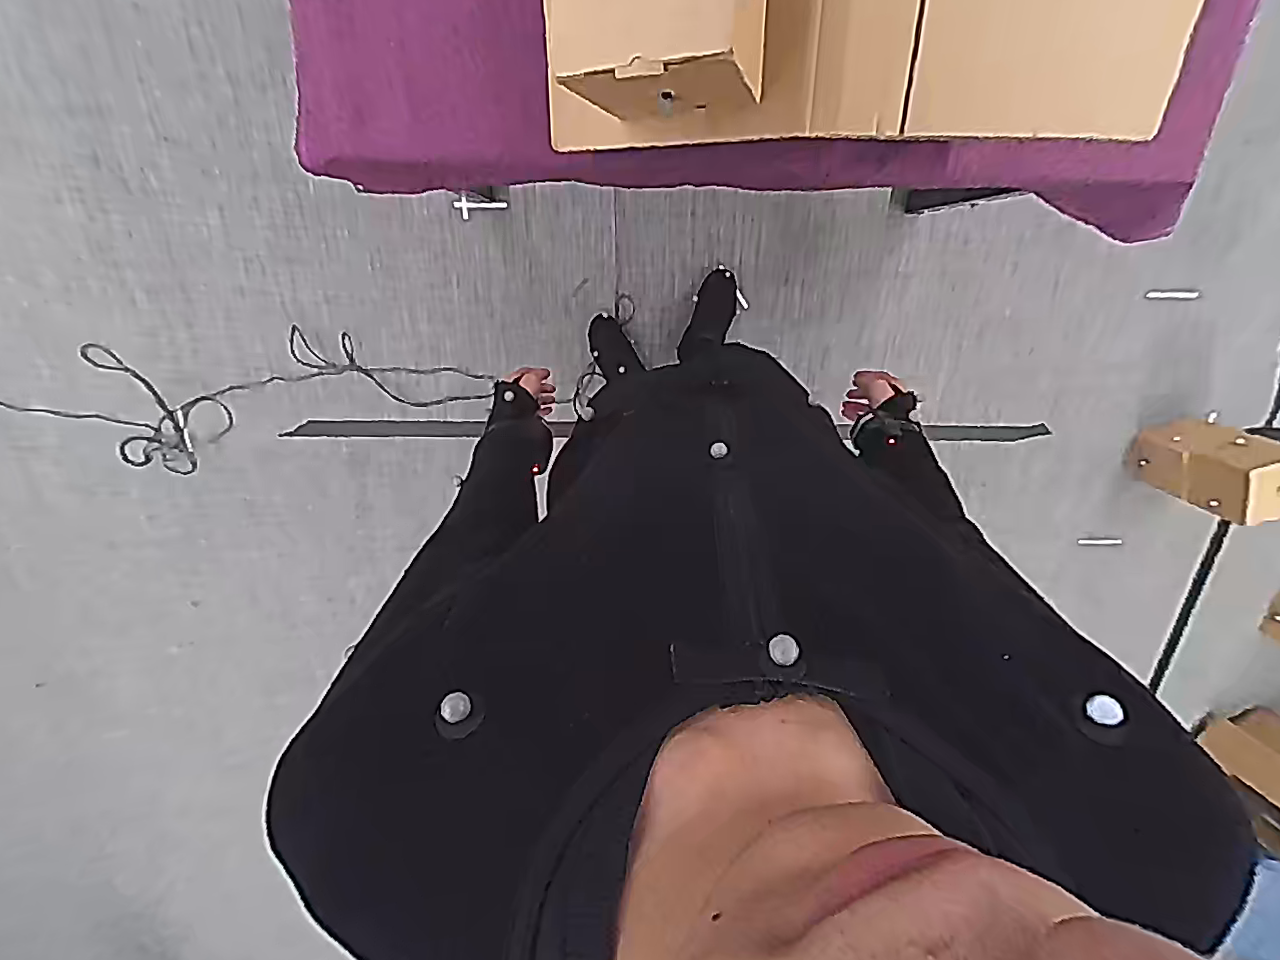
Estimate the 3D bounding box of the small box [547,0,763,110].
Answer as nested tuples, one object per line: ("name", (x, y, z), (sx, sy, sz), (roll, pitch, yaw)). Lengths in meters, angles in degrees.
("small box", (0.023, -0.464, 0.503), (0.168, 0.176, 0.179), (7, 114, 18))
